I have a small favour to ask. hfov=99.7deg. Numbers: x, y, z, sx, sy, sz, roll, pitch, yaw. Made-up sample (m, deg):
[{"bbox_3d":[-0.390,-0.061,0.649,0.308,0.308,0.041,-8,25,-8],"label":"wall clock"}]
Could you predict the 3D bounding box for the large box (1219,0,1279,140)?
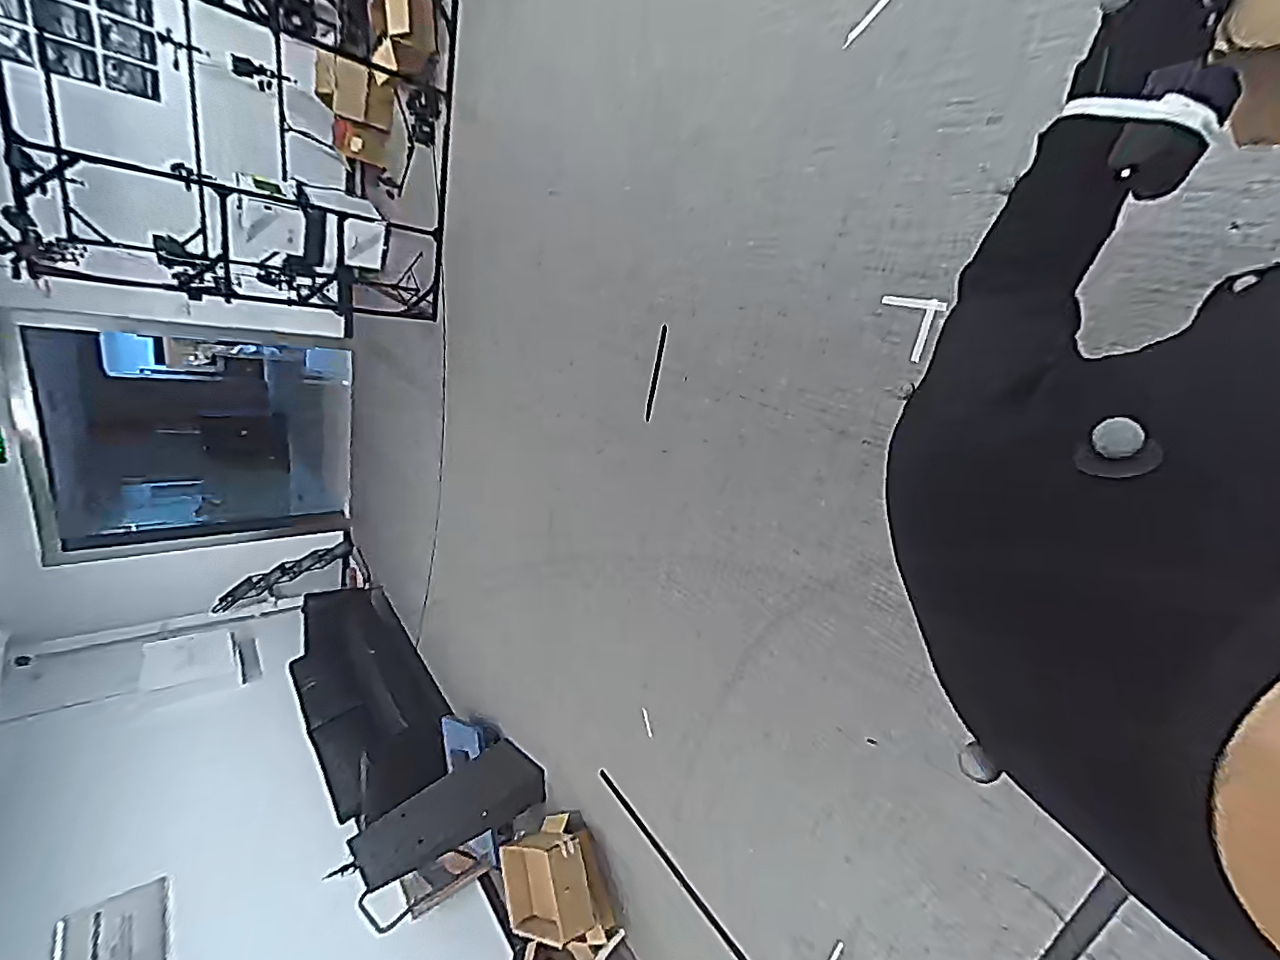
[{"bbox_3d":[0.634,-0.395,0.267,0.408,0.320,0.320,26,121,43],"label":"large box"}]
